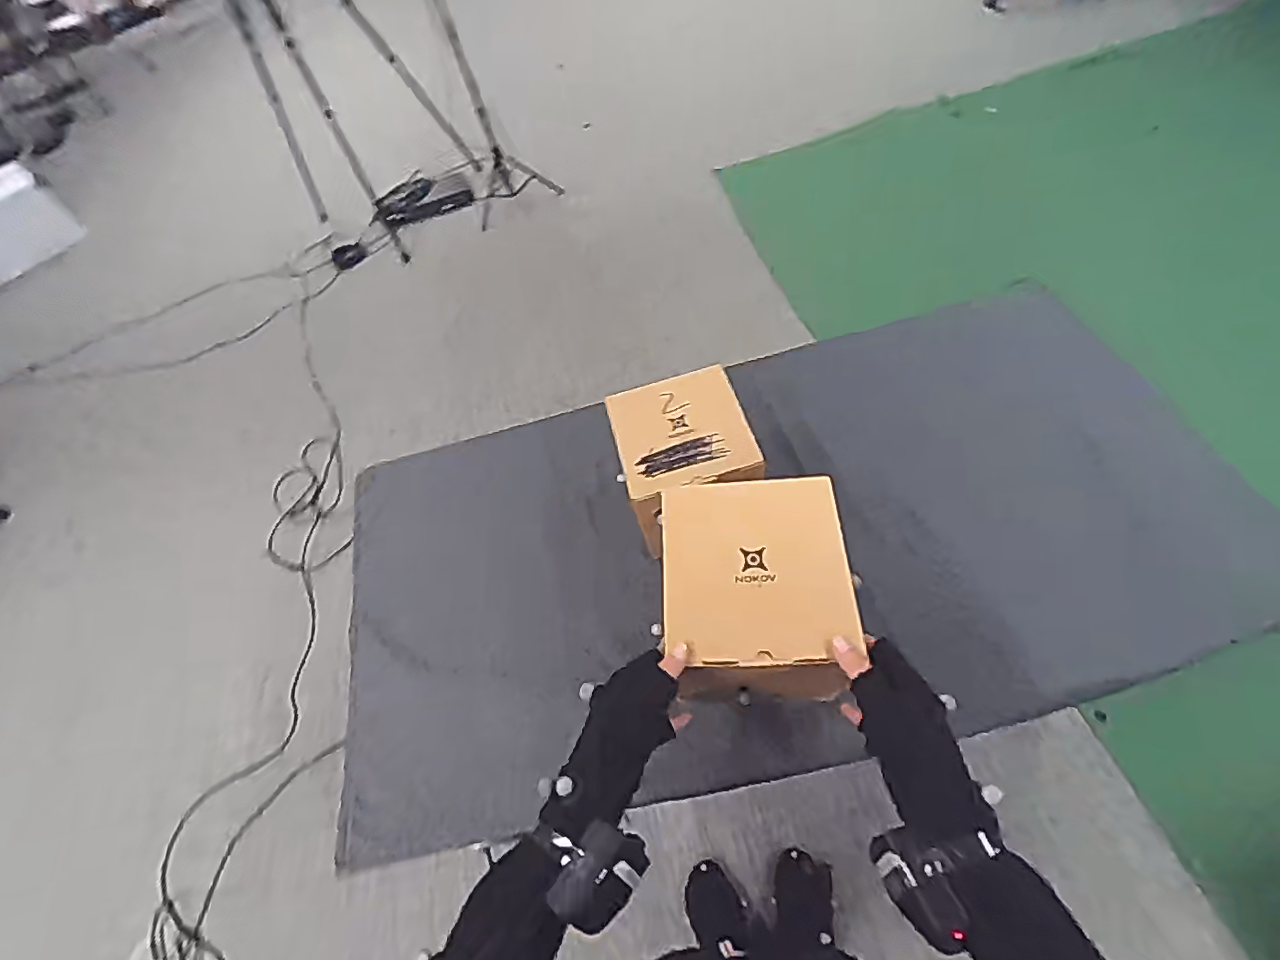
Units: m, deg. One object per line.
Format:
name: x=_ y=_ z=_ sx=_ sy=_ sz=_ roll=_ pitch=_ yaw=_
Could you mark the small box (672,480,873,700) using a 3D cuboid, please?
small box: x=0.120 y=0.119 z=0.559 sx=0.168 sy=0.176 sz=0.179 roll=-4 pitch=58 yaw=6
